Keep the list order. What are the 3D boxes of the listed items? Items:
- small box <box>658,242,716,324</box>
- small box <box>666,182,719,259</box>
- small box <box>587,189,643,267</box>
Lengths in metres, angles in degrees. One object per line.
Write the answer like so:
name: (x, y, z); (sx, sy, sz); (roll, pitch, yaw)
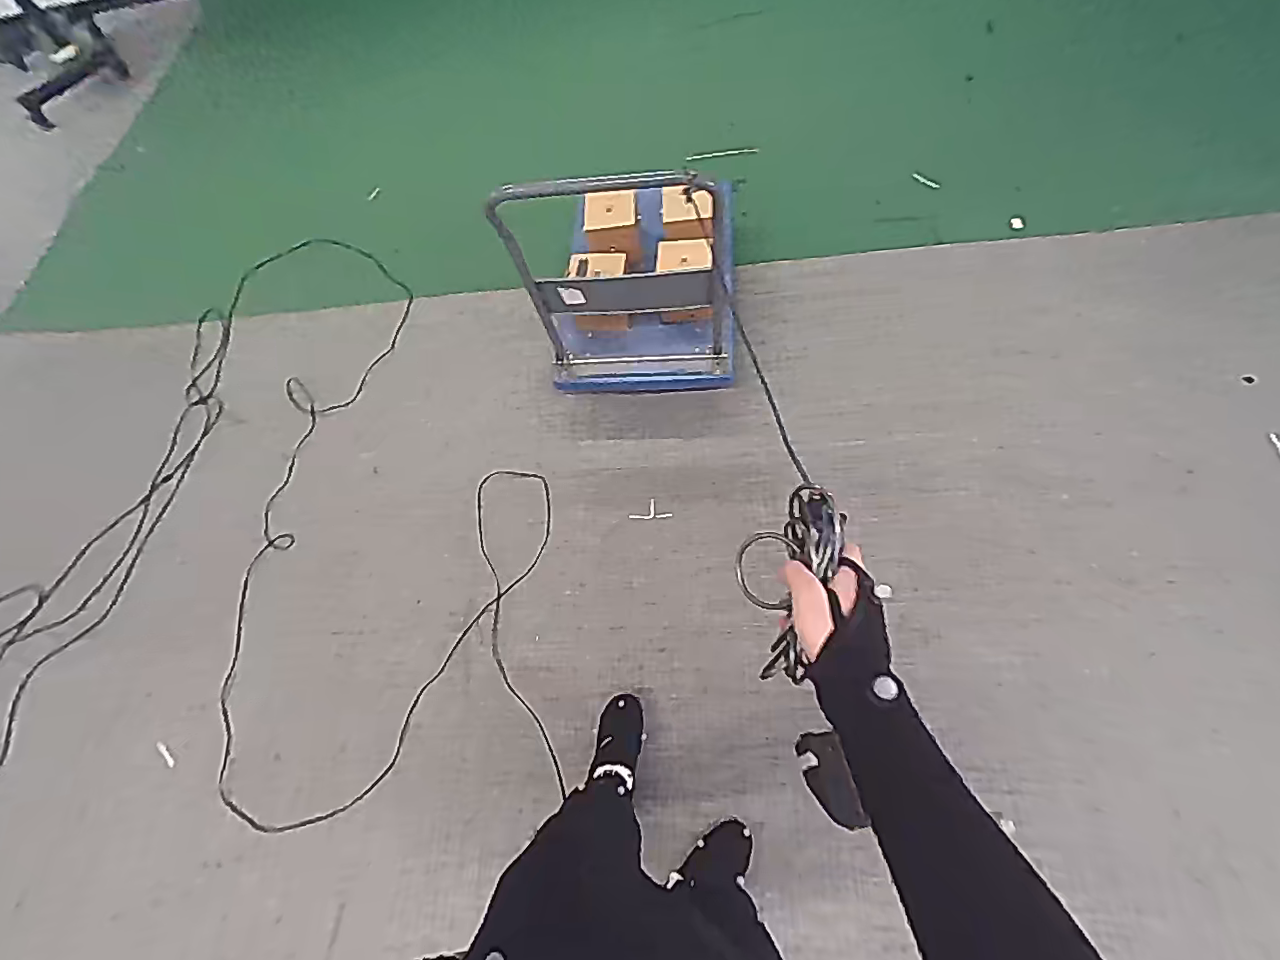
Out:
small box: (0.150, -0.613, 1.688); (0.168, 0.176, 0.179); (1, 67, 9)
small box: (0.175, -0.849, 1.790); (0.168, 0.176, 0.179); (-2, 66, 9)
small box: (-0.079, -0.843, 1.828); (0.168, 0.176, 0.179); (-3, 65, 7)
